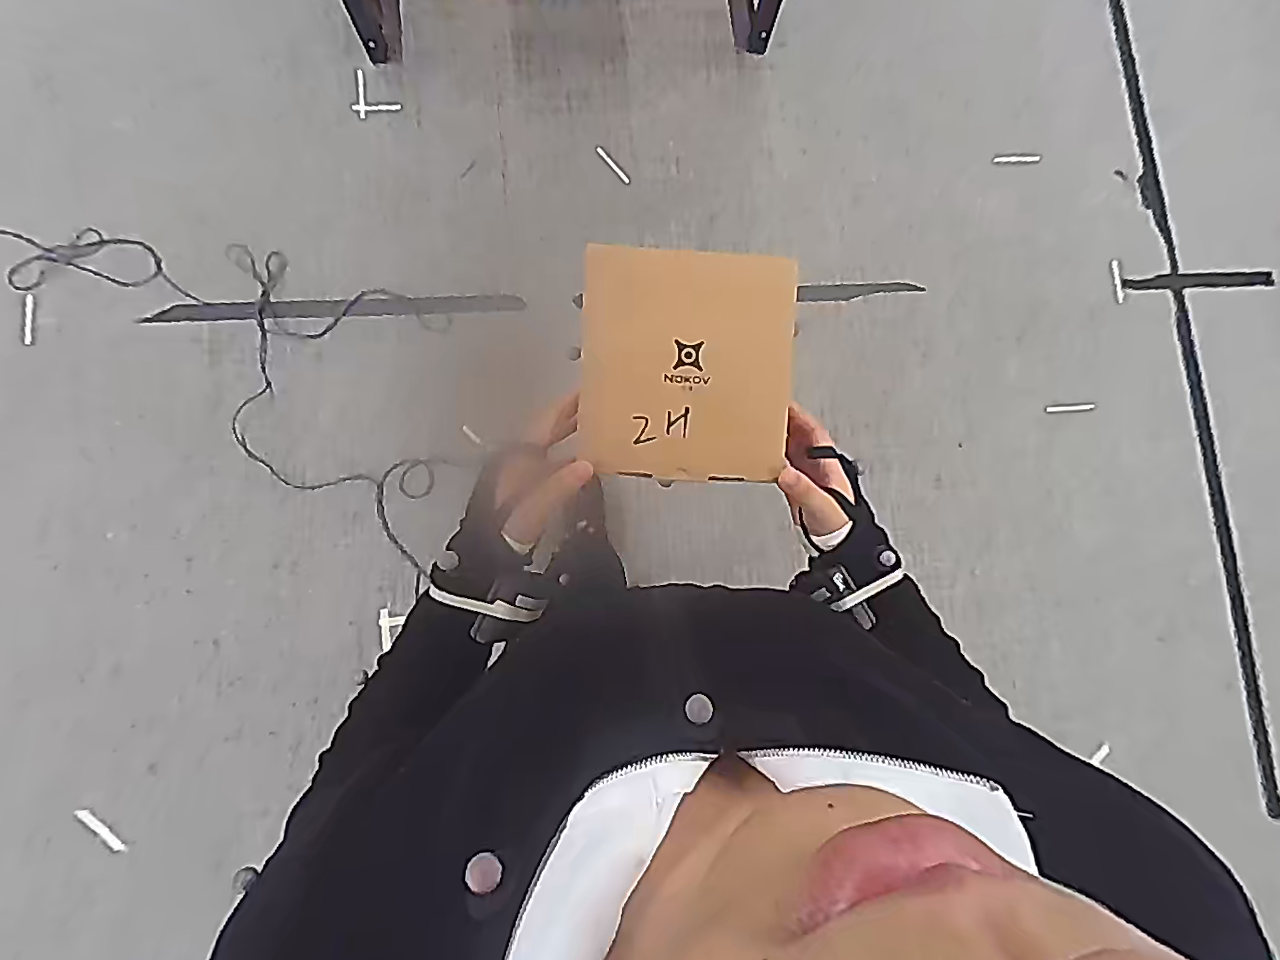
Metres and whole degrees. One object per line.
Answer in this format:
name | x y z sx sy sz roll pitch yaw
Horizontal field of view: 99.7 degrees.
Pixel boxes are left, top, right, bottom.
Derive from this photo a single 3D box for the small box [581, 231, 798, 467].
small box | 0.035 -0.106 0.502 0.168 0.176 0.179 3 94 -2
